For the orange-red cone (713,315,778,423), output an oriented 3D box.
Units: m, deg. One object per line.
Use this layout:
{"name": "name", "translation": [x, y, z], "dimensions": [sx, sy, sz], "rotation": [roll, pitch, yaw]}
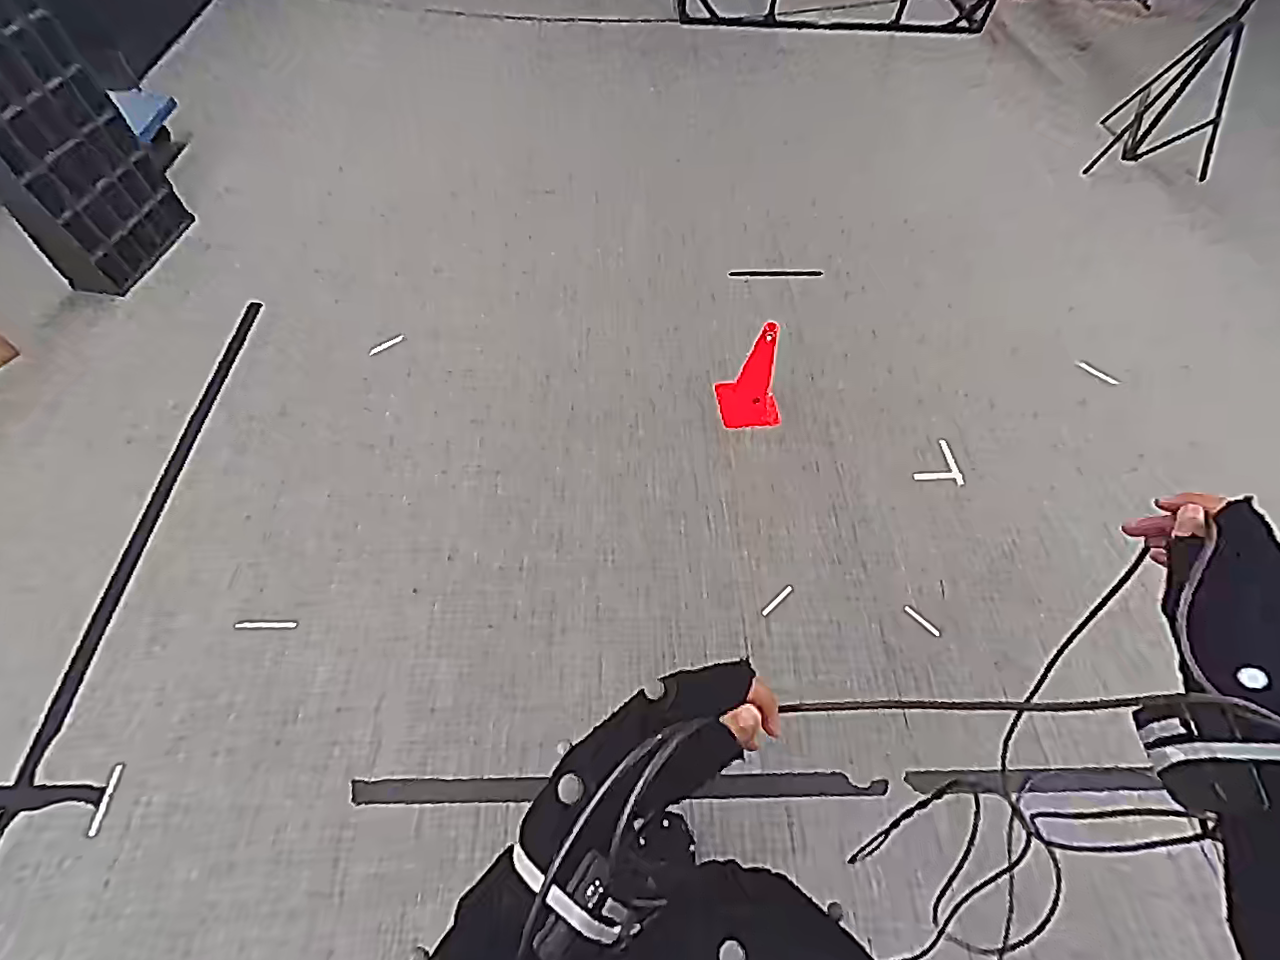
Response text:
{"name": "orange-red cone", "translation": [0.361, -0.366, 1.695], "dimensions": [0.199, 0.360, 0.198], "rotation": [-5, 59, -3]}
